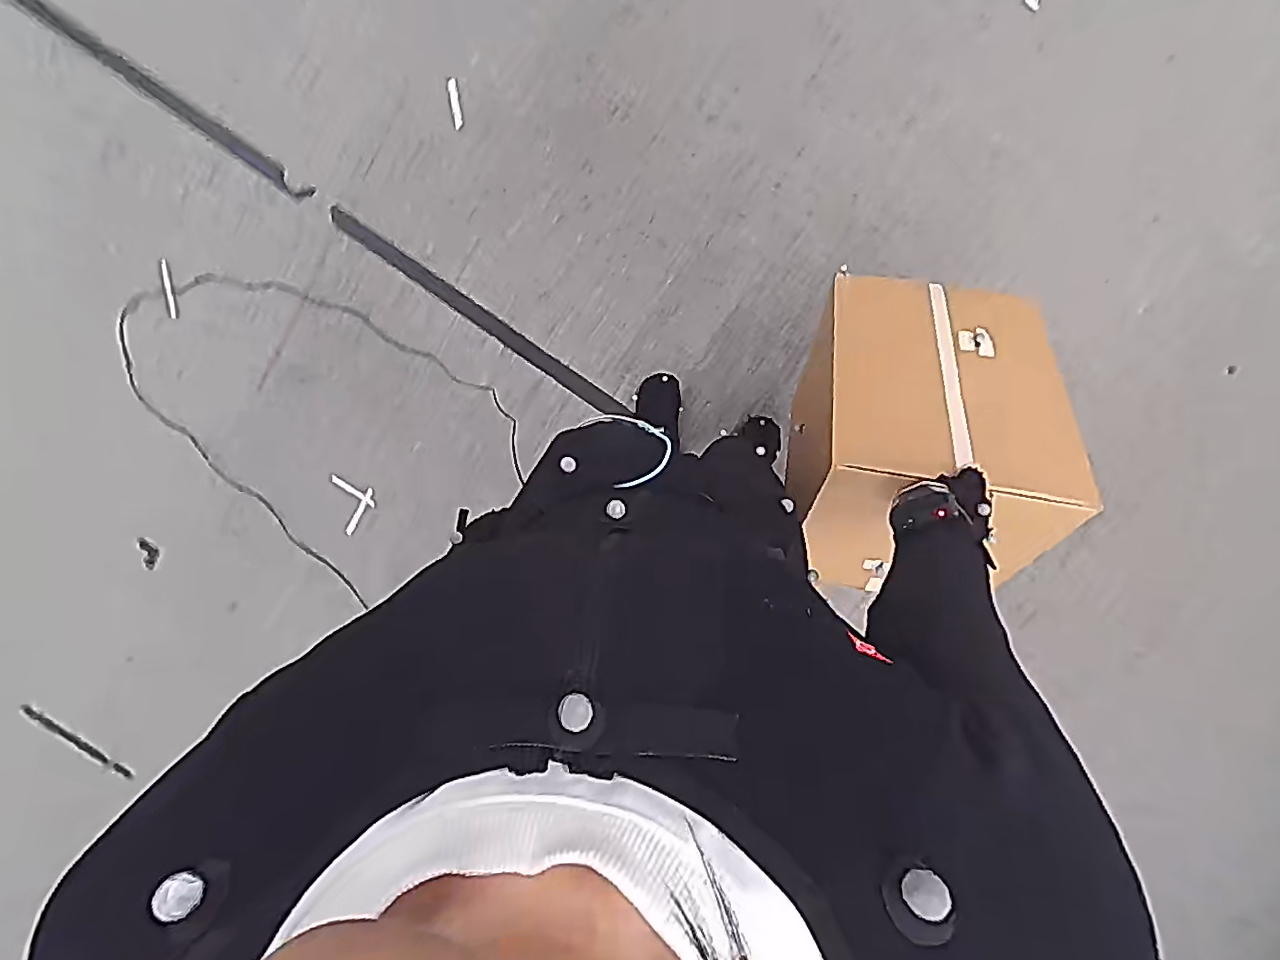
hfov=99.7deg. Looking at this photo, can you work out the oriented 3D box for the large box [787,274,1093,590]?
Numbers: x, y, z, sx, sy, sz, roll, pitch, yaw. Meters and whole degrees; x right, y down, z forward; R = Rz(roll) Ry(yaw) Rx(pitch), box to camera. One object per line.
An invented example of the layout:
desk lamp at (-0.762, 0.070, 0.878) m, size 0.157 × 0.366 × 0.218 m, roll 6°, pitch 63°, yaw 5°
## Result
large box at (0.431, -0.078, 0.896) m, size 0.320 × 0.408 × 0.320 m, roll 9°, pitch 145°, yaw 5°
